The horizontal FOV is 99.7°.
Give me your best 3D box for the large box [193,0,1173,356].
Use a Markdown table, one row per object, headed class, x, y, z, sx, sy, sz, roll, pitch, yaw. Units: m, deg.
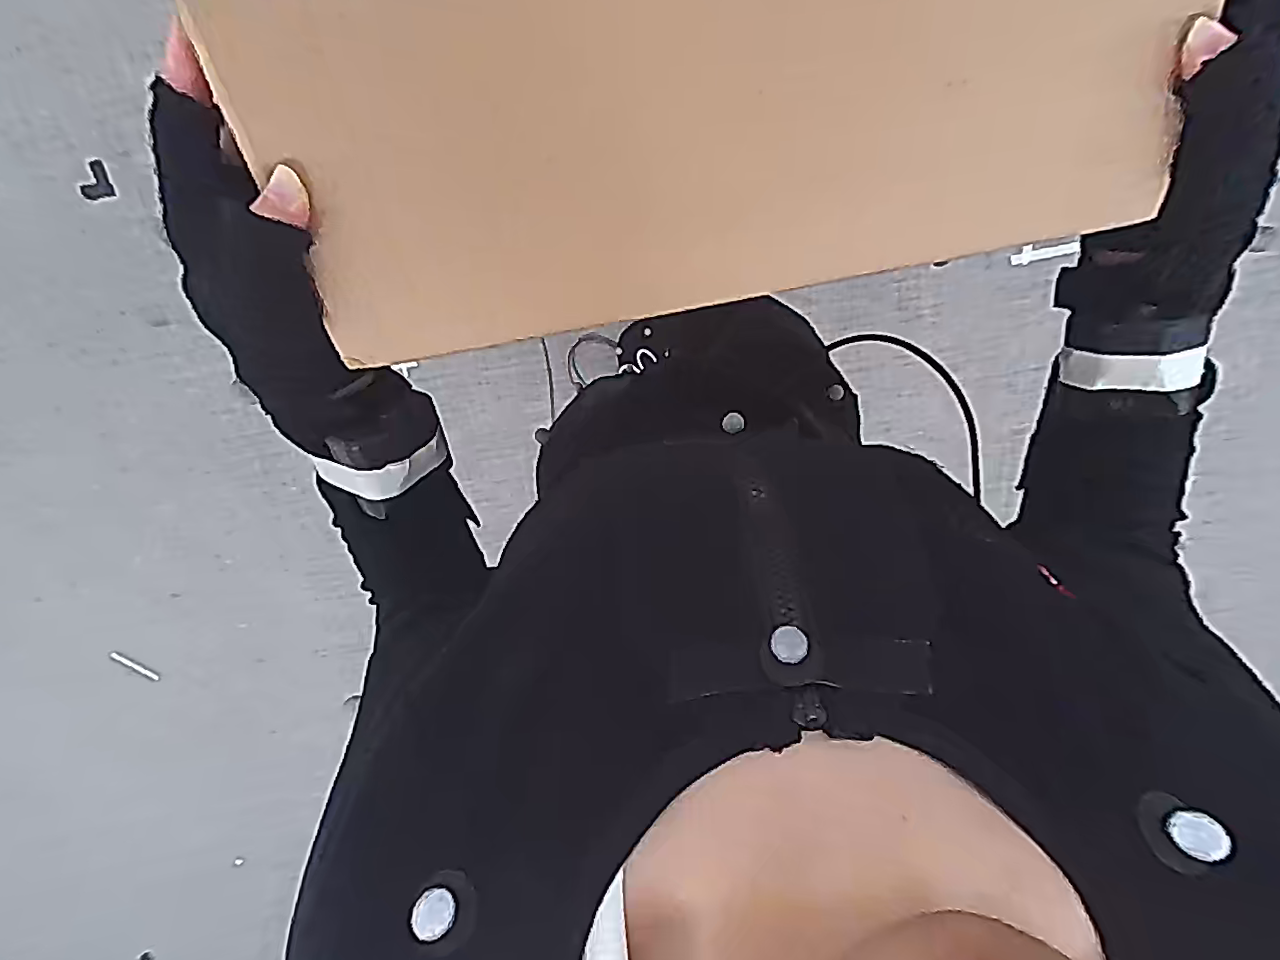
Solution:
| class | x | y | z | sx | sy | sz | roll | pitch | yaw |
| --- | --- | --- | --- | --- | --- | --- | --- | --- | --- |
| large box | 0.011 | -0.307 | 0.324 | 0.408 | 0.320 | 0.320 | -11 | 121 | 1 |
